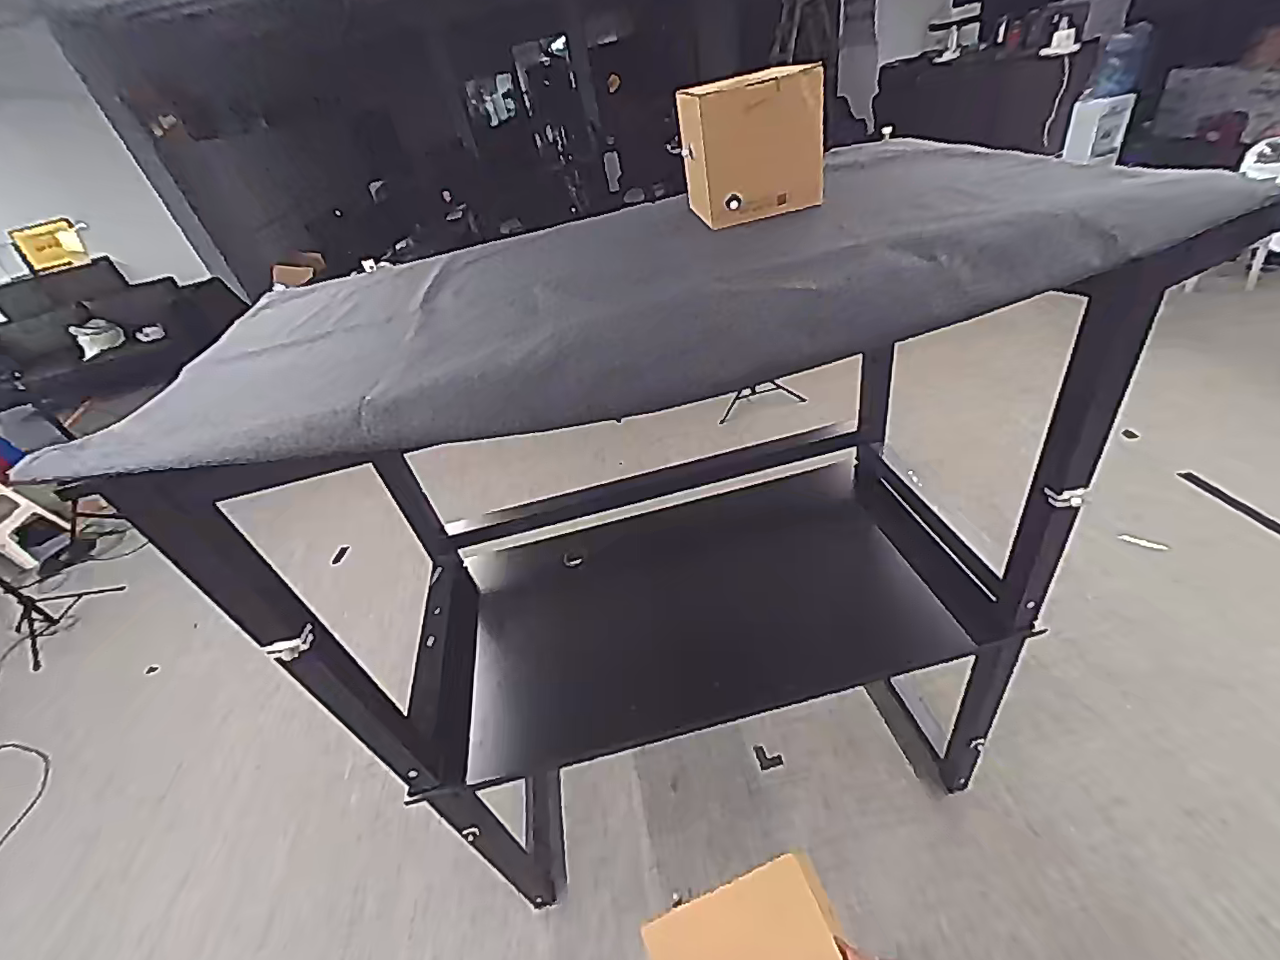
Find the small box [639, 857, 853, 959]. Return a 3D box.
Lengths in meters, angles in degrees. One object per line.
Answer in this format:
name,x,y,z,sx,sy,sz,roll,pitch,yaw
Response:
small box,0.126,0.506,0.547,0.179,0.176,0.168,-28,51,2

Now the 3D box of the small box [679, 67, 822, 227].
small box,0.163,-0.493,0.807,0.168,0.176,0.179,-12,36,1
